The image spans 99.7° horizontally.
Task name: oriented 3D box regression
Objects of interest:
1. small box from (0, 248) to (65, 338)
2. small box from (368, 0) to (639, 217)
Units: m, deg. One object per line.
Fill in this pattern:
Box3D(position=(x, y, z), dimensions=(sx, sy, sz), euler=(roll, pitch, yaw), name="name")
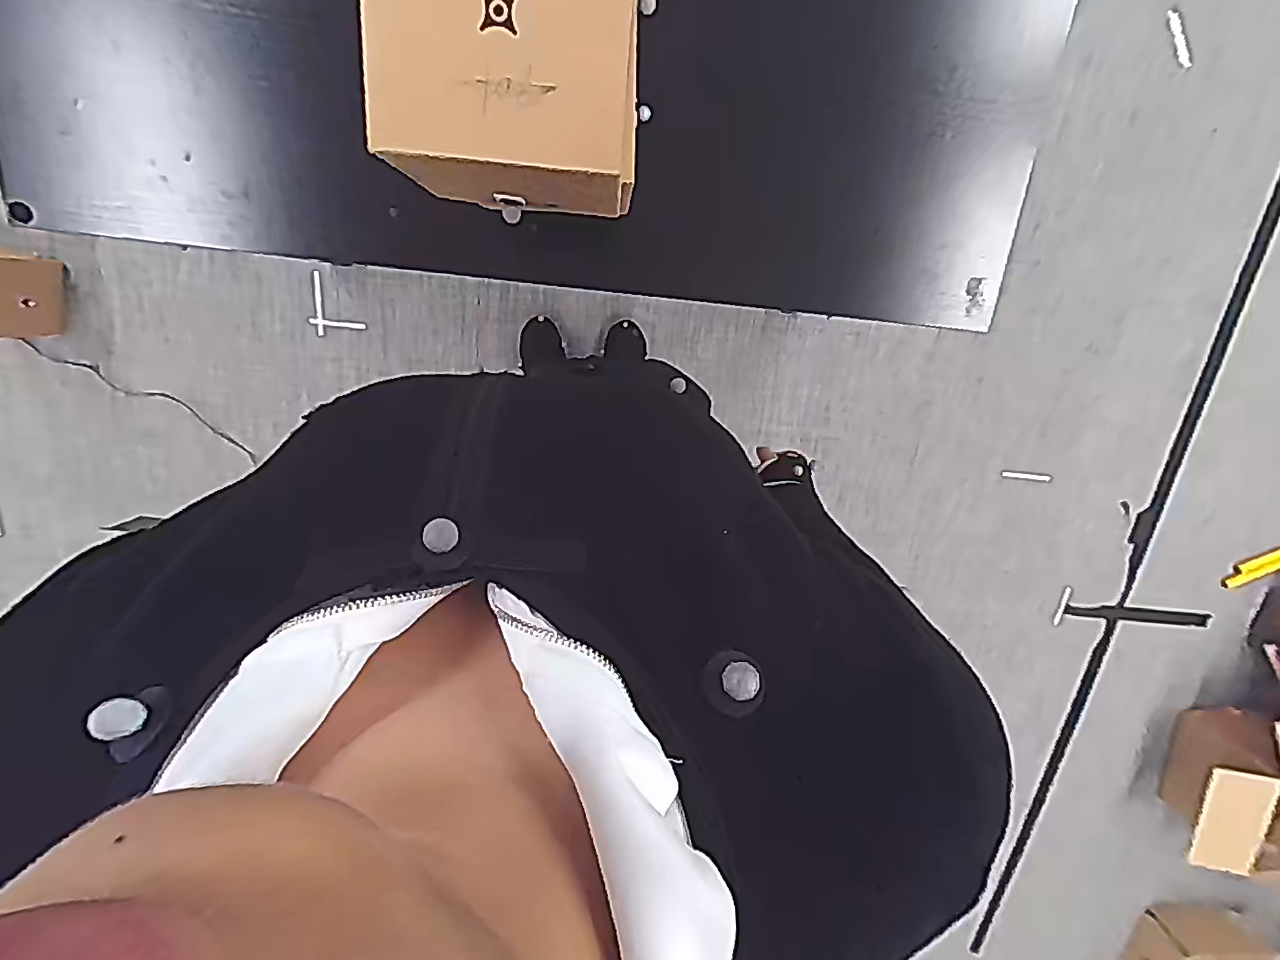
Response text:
Box3D(position=(-1.457, -0.428, 1.214), dimensions=(0.168, 0.176, 0.179), euler=(13, 106, -7), name="small box")
Box3D(position=(-0.088, -0.315, 0.409), dimensions=(0.168, 0.176, 0.179), euler=(4, 107, -3), name="small box")
